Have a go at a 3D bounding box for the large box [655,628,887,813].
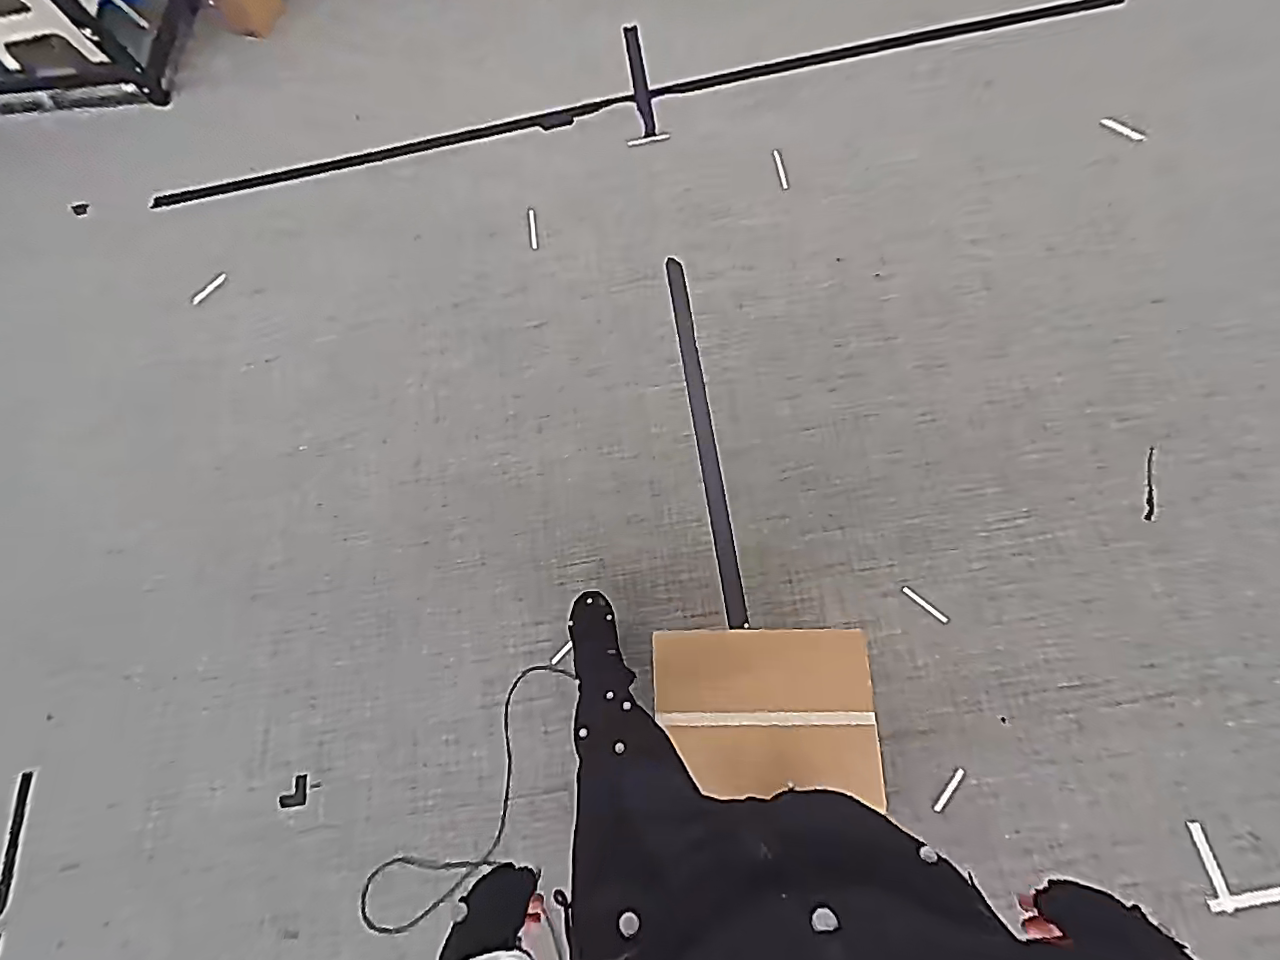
[{"bbox_3d":[0.244,0.480,1.139,0.408,0.320,0.320,-2,73,4],"label":"large box"}]
